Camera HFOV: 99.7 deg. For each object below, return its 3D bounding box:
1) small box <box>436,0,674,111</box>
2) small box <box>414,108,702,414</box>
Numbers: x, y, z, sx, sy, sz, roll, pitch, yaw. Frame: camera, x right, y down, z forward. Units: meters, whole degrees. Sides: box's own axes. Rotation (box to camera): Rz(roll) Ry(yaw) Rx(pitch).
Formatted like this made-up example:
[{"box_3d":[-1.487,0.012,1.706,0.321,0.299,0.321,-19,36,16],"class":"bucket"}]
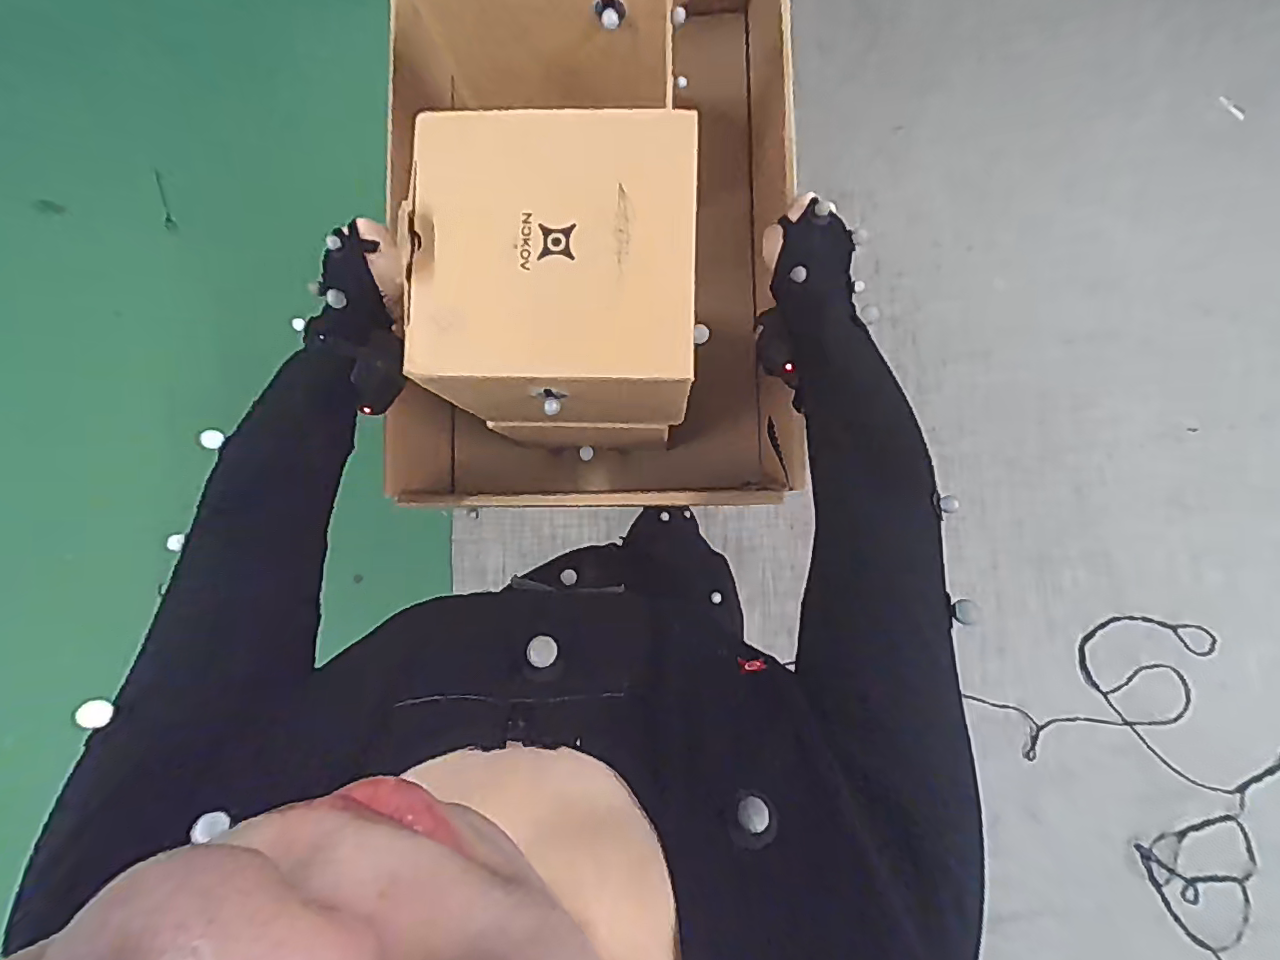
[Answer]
[{"box_3d":[-0.060,-0.405,0.423,0.179,0.176,0.168,2,89,1],"class":"small box"},{"box_3d":[-0.048,-0.144,0.412,0.179,0.176,0.168,1,88,1],"class":"small box"}]
